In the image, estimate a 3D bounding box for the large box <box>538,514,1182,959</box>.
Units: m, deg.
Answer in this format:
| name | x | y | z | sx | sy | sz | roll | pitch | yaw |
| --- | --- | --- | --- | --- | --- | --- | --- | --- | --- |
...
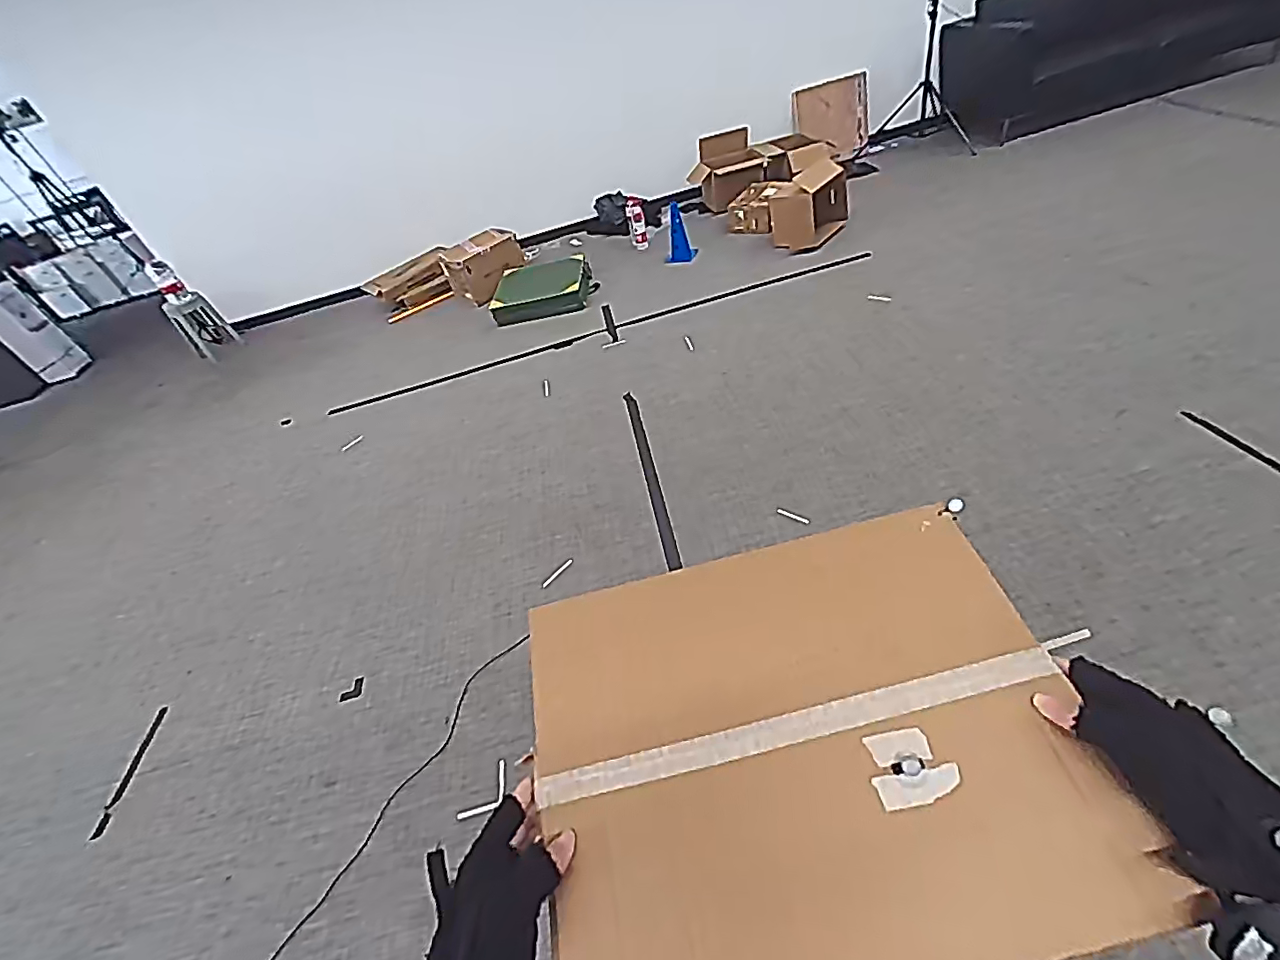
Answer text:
| name | x | y | z | sx | sy | sz | roll | pitch | yaw |
| --- | --- | --- | --- | --- | --- | --- | --- | --- | --- |
| large box | 0.145 | 0.289 | 0.546 | 0.408 | 0.320 | 0.320 | -15 | 52 | 1 |
